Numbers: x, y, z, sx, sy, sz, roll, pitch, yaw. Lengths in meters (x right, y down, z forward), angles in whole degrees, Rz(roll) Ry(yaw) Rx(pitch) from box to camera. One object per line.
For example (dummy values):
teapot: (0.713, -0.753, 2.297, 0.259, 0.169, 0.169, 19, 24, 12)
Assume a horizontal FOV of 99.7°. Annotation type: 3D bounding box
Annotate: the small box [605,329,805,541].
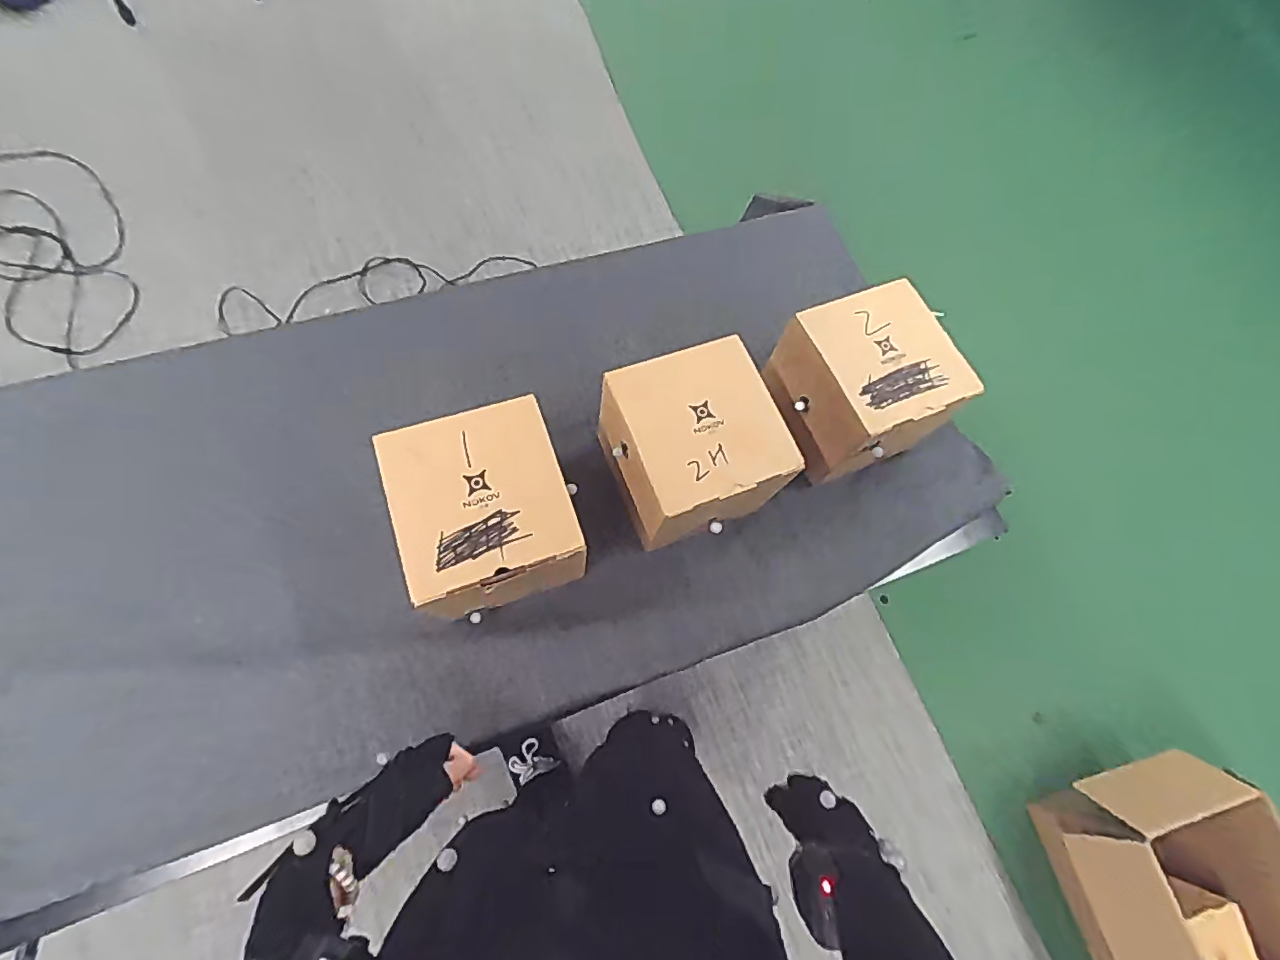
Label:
small box: (0.061, -0.046, 0.652, 0.168, 0.176, 0.179, -20, 74, -12)
